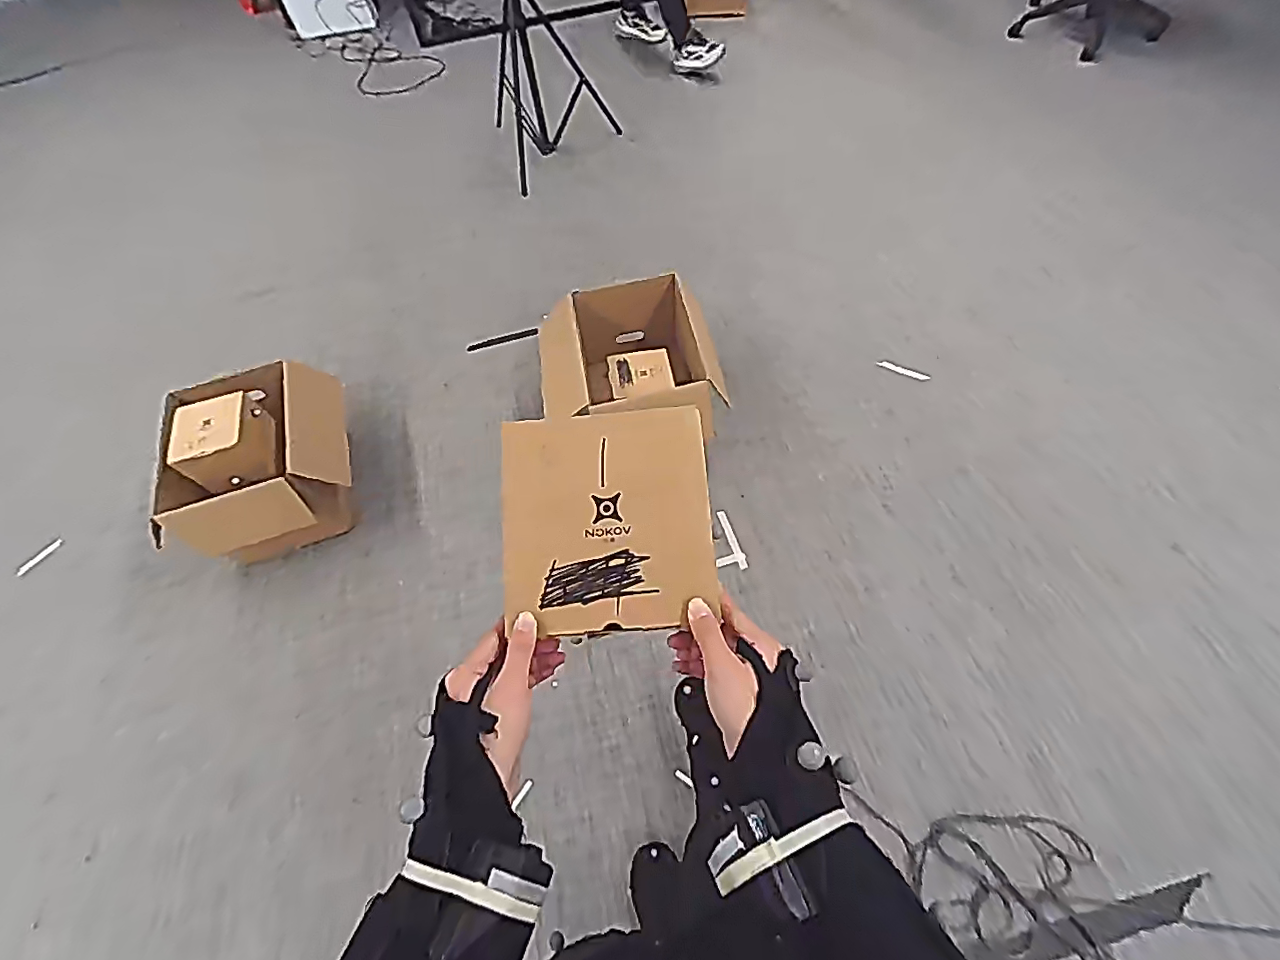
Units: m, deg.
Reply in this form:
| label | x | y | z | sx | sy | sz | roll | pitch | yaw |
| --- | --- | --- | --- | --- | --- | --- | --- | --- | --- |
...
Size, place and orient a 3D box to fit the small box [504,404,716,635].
| label | x | y | z | sx | sy | sz | roll | pitch | yaw |
| --- | --- | --- | --- | --- | --- | --- | --- | --- | --- |
| small box | -0.022 | 0.045 | 0.506 | 0.168 | 0.176 | 0.179 | -5 | 76 | 2 |

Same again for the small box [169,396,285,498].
| label | x | y | z | sx | sy | sz | roll | pitch | yaw |
| --- | --- | --- | --- | --- | --- | --- | --- | --- | --- |
| small box | -1.044 | -0.082 | 1.384 | 0.168 | 0.176 | 0.179 | -17 | 60 | -4 |
